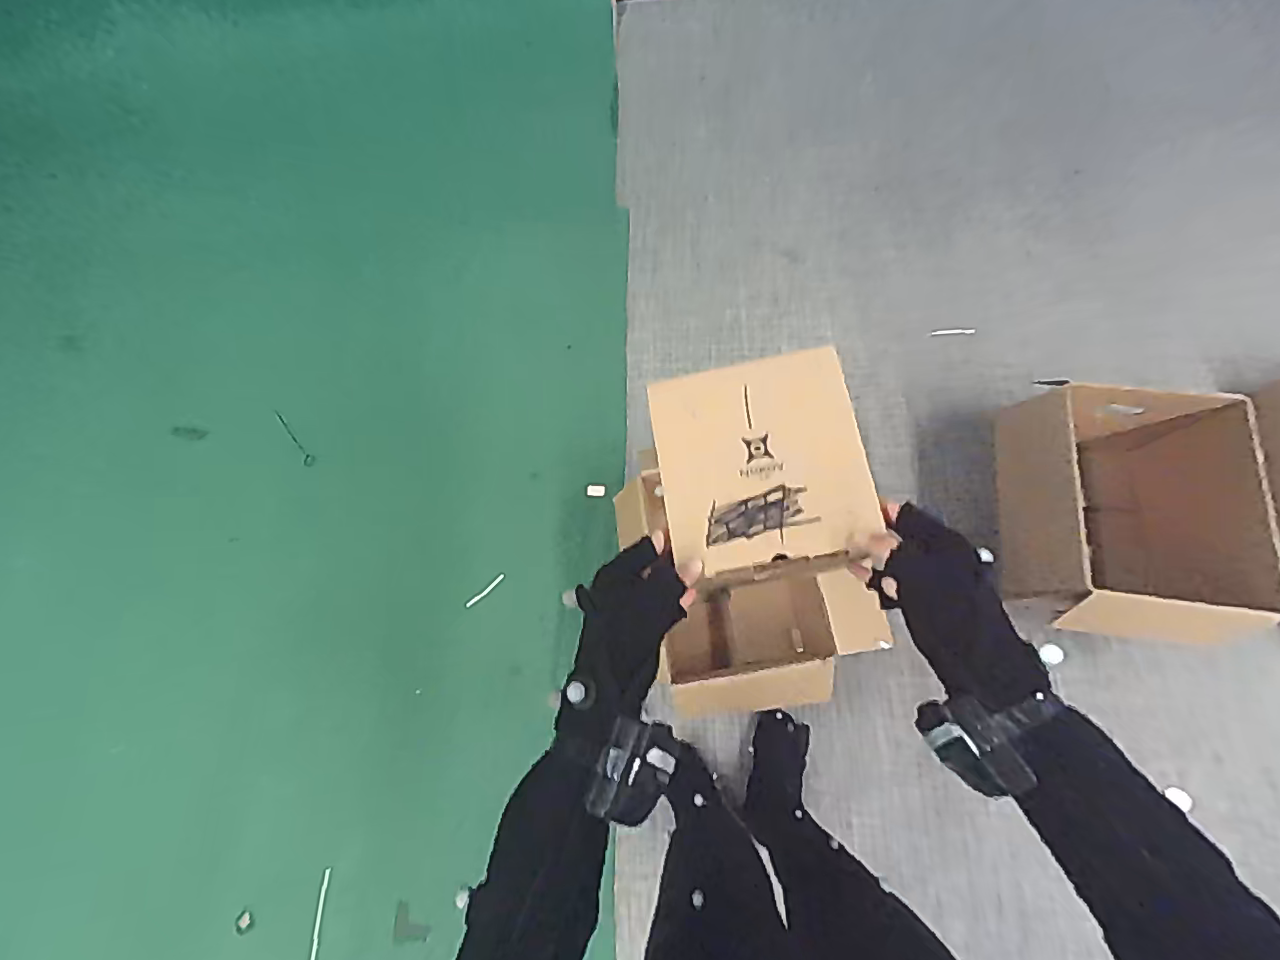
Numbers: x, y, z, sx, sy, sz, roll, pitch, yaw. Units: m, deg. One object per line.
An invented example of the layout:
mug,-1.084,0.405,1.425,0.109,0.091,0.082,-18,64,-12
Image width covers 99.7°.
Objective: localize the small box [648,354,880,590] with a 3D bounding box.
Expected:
small box,0.113,0.008,0.527,0.168,0.176,0.179,-11,72,8
